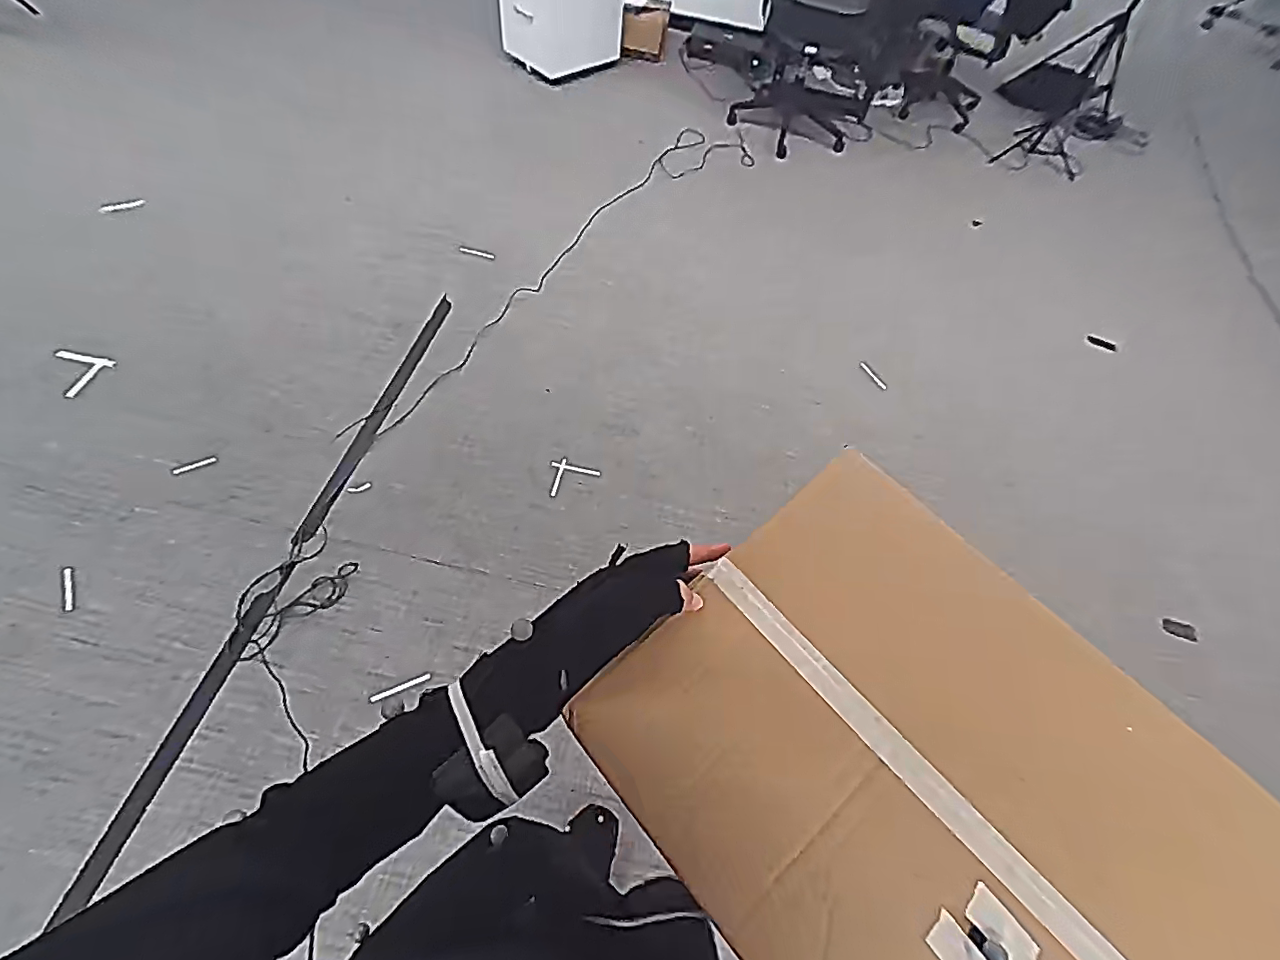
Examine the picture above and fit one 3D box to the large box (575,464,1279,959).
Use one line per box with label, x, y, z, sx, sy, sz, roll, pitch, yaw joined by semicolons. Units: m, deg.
large box;0.197;0.266;0.502;0.320;0.320;0.408;-39;71;-13
